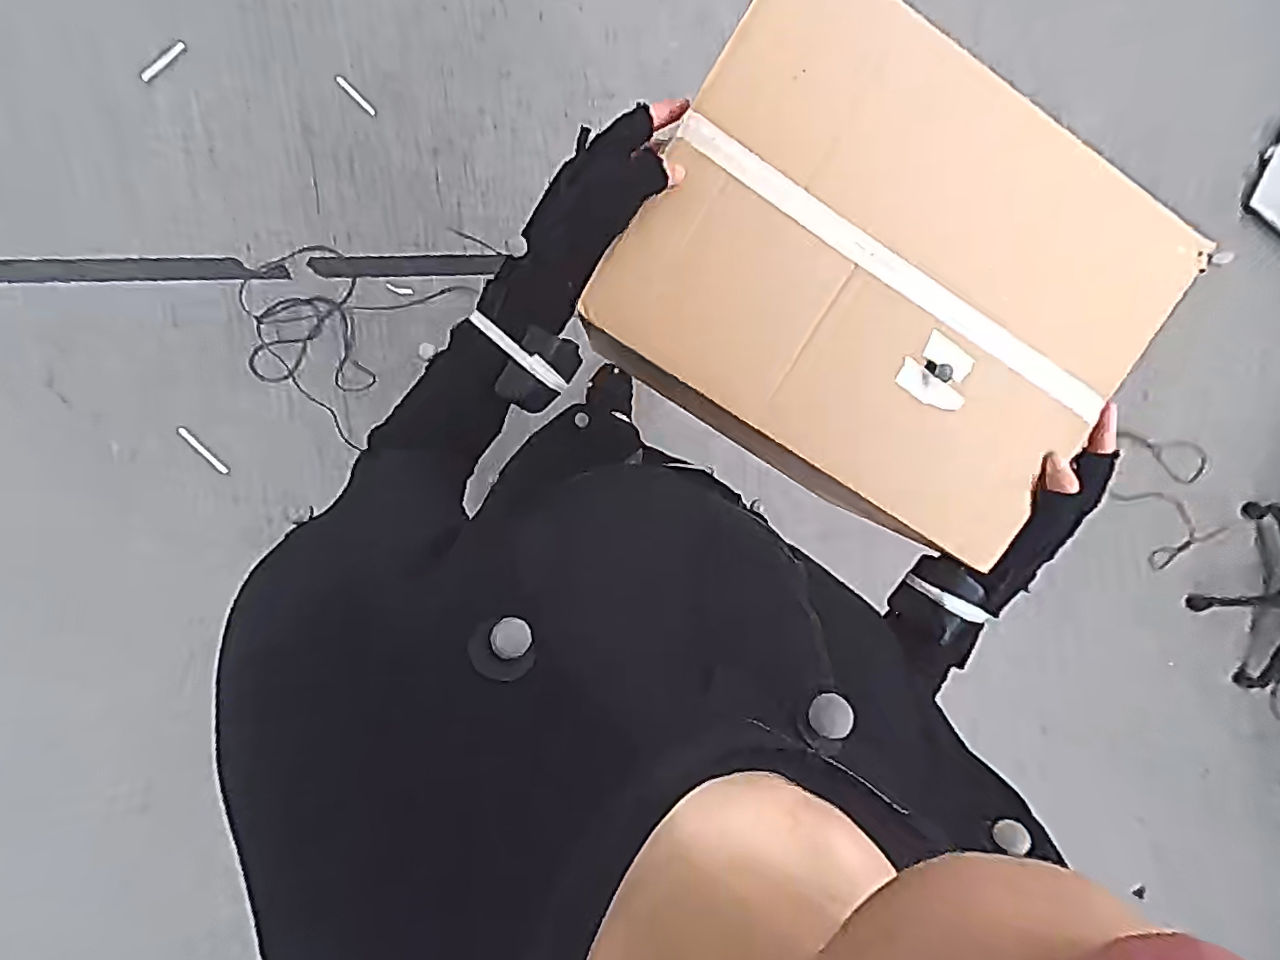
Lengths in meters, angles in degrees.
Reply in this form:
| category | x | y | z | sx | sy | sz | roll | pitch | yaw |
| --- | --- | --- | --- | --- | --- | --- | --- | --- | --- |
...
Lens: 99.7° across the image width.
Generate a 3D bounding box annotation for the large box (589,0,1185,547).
| category | x | y | z | sx | sy | sz | roll | pitch | yaw |
| --- | --- | --- | --- | --- | --- | --- | --- | --- | --- |
| large box | 0.192 | -0.189 | 0.579 | 0.408 | 0.320 | 0.320 | 32 | 96 | -8 |
